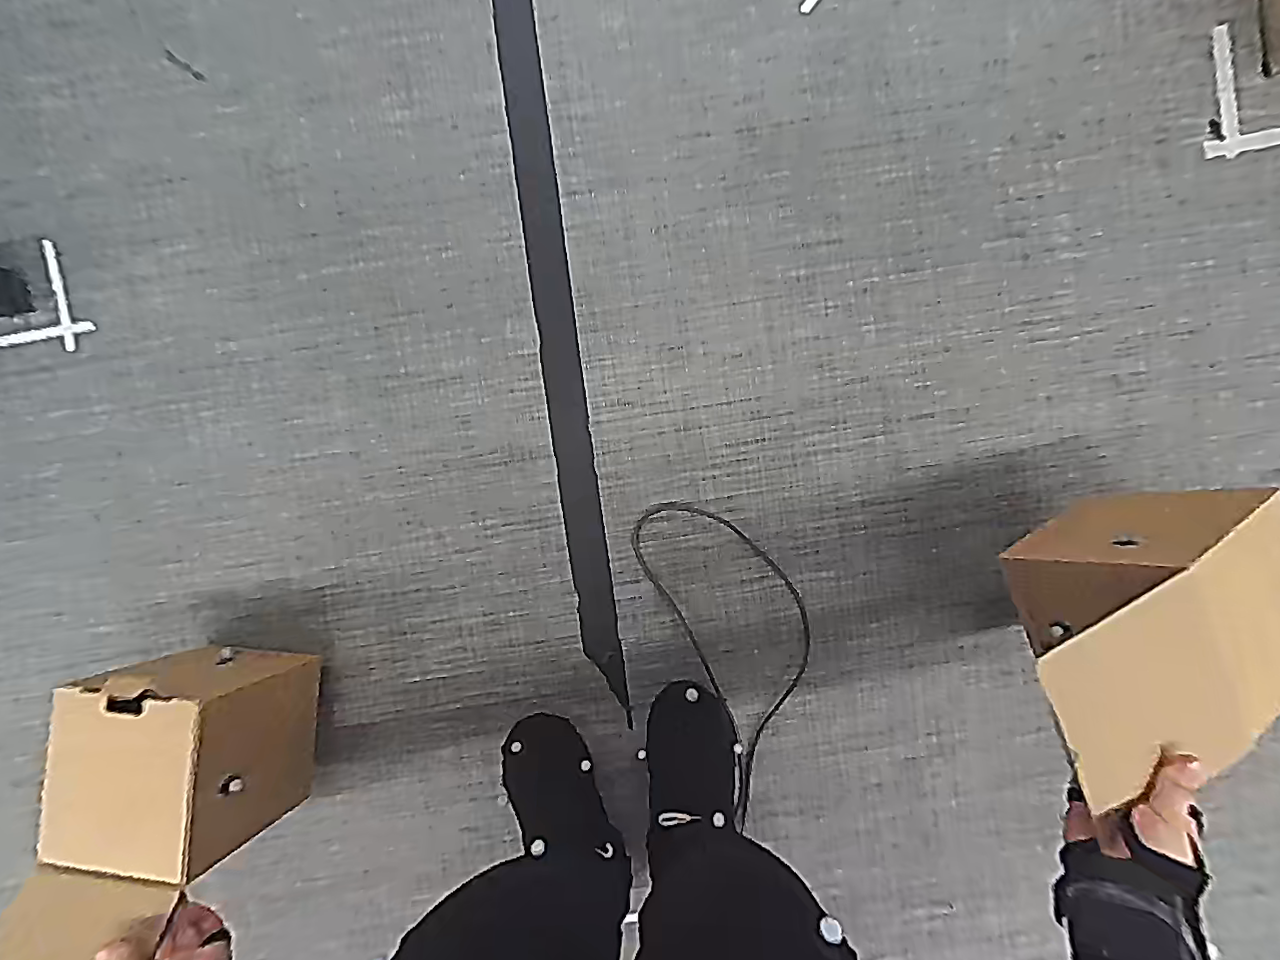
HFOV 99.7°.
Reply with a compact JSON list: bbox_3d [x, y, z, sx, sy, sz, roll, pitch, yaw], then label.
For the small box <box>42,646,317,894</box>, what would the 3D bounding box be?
[{"bbox_3d":[-0.491,0.301,0.599,0.168,0.176,0.179,2,89,8],"label":"small box"}]
